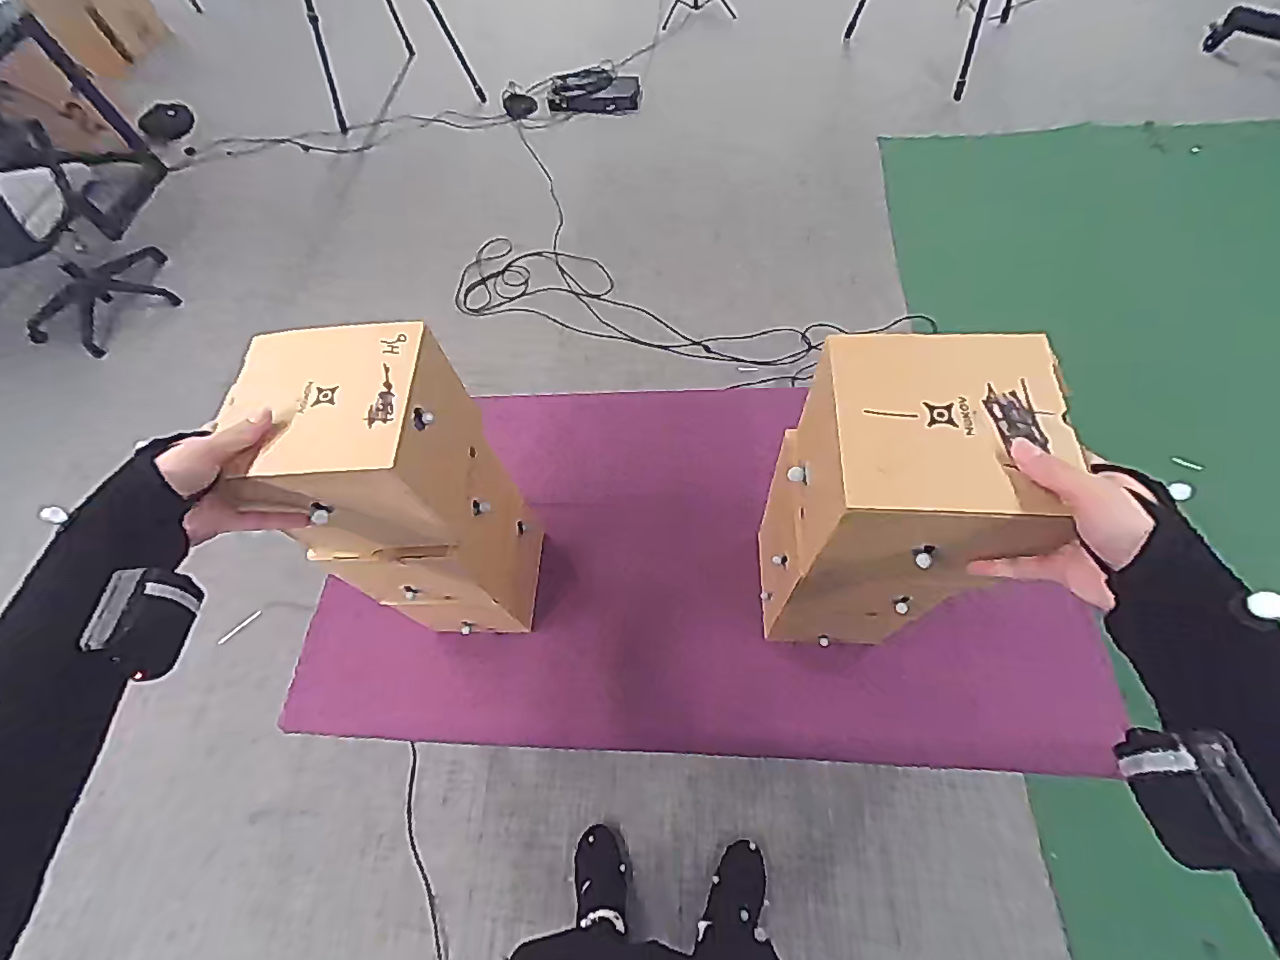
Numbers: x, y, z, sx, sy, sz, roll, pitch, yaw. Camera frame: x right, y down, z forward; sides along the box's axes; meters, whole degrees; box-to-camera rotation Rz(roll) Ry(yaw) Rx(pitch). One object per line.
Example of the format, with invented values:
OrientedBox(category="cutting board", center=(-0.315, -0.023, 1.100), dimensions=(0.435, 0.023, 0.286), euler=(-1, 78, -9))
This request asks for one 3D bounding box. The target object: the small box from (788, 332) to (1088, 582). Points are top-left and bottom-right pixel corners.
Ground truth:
OrientedBox(category="small box", center=(0.237, -0.012, 0.486), dimensions=(0.179, 0.176, 0.168), euler=(1, 62, 7))

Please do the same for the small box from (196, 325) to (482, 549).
OrientedBox(category="small box", center=(-0.286, -0.034, 0.561), dimensions=(0.179, 0.176, 0.168), euler=(-4, 61, 5))

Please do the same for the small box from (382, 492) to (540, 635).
OrientedBox(category="small box", center=(-0.262, 0.132, 0.840), dimensions=(0.168, 0.176, 0.179), euler=(-1, 61, 6))

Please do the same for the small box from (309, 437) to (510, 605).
OrientedBox(category="small box", center=(-0.277, 0.052, 0.700), dimensions=(0.168, 0.176, 0.179), euler=(-2, 61, 5))

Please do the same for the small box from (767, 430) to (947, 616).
OrientedBox(category="small box", center=(0.244, 0.056, 0.635), dimensions=(0.168, 0.176, 0.179), euler=(-1, 61, 6))
